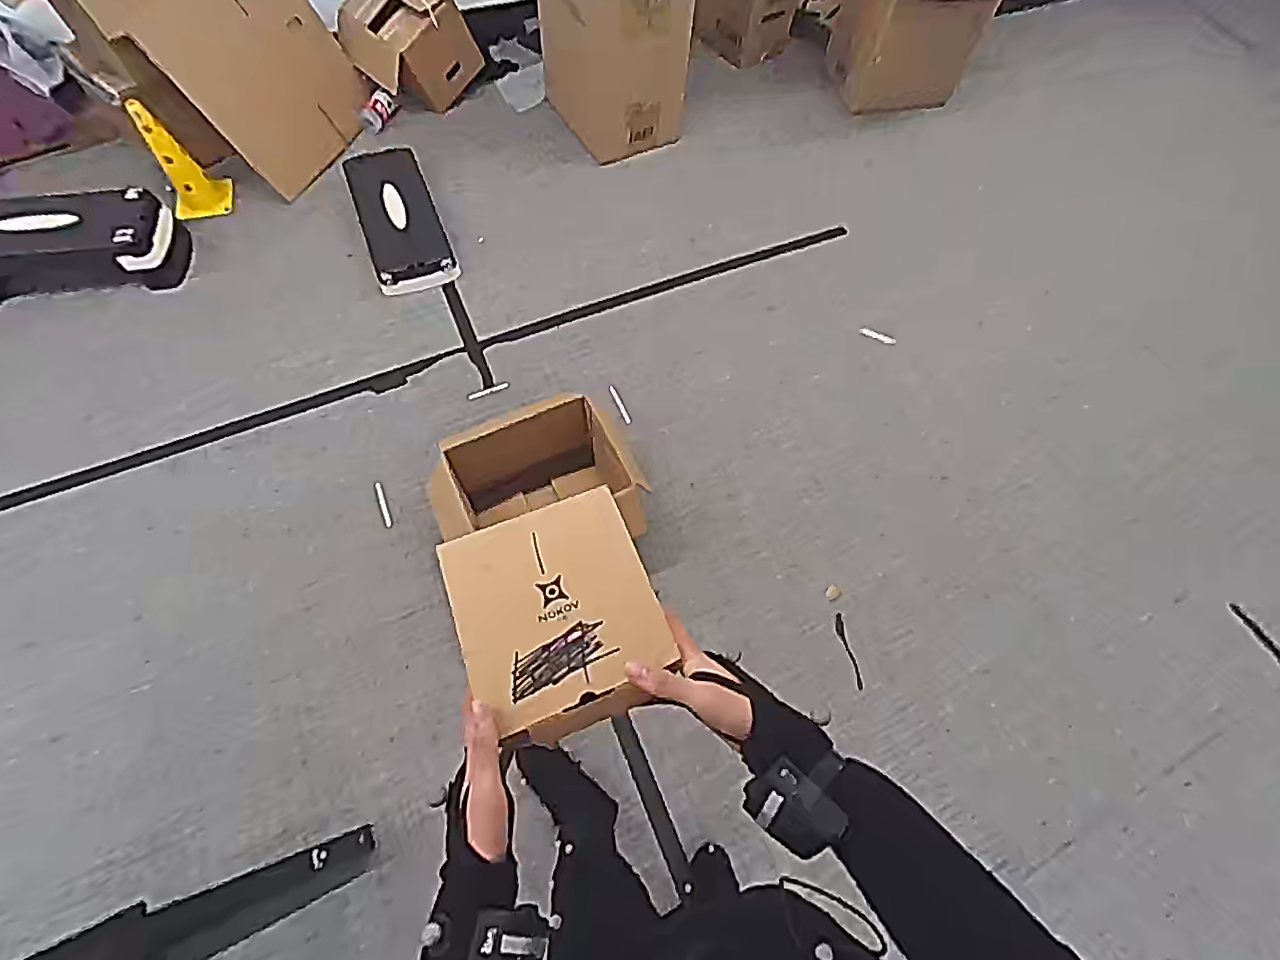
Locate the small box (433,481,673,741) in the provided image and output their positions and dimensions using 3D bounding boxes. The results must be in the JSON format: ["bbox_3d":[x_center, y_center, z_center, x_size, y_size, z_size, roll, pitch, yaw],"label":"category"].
[{"bbox_3d":[-0.077,0.132,0.525,0.168,0.176,0.179,-19,65,-10],"label":"small box"}]
